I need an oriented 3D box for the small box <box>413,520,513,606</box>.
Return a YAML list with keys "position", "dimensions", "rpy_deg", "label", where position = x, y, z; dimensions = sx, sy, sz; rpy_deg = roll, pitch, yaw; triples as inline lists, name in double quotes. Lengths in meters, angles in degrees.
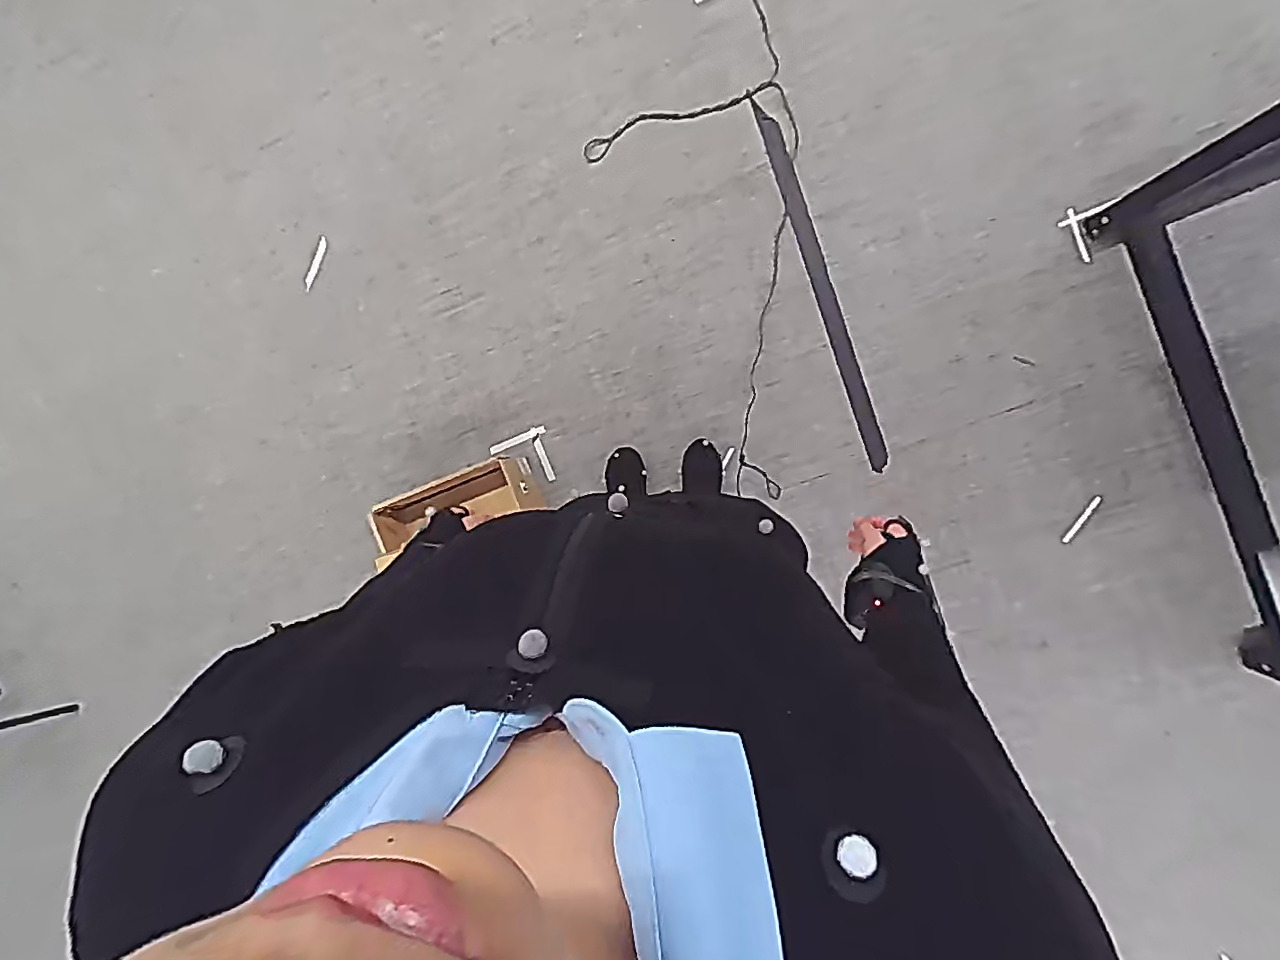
- position: [-0.466, 0.216, 1.445]
  dimensions: [0.179, 0.176, 0.168]
  rpy_deg: [-16, 94, 7]
  label: "small box"
